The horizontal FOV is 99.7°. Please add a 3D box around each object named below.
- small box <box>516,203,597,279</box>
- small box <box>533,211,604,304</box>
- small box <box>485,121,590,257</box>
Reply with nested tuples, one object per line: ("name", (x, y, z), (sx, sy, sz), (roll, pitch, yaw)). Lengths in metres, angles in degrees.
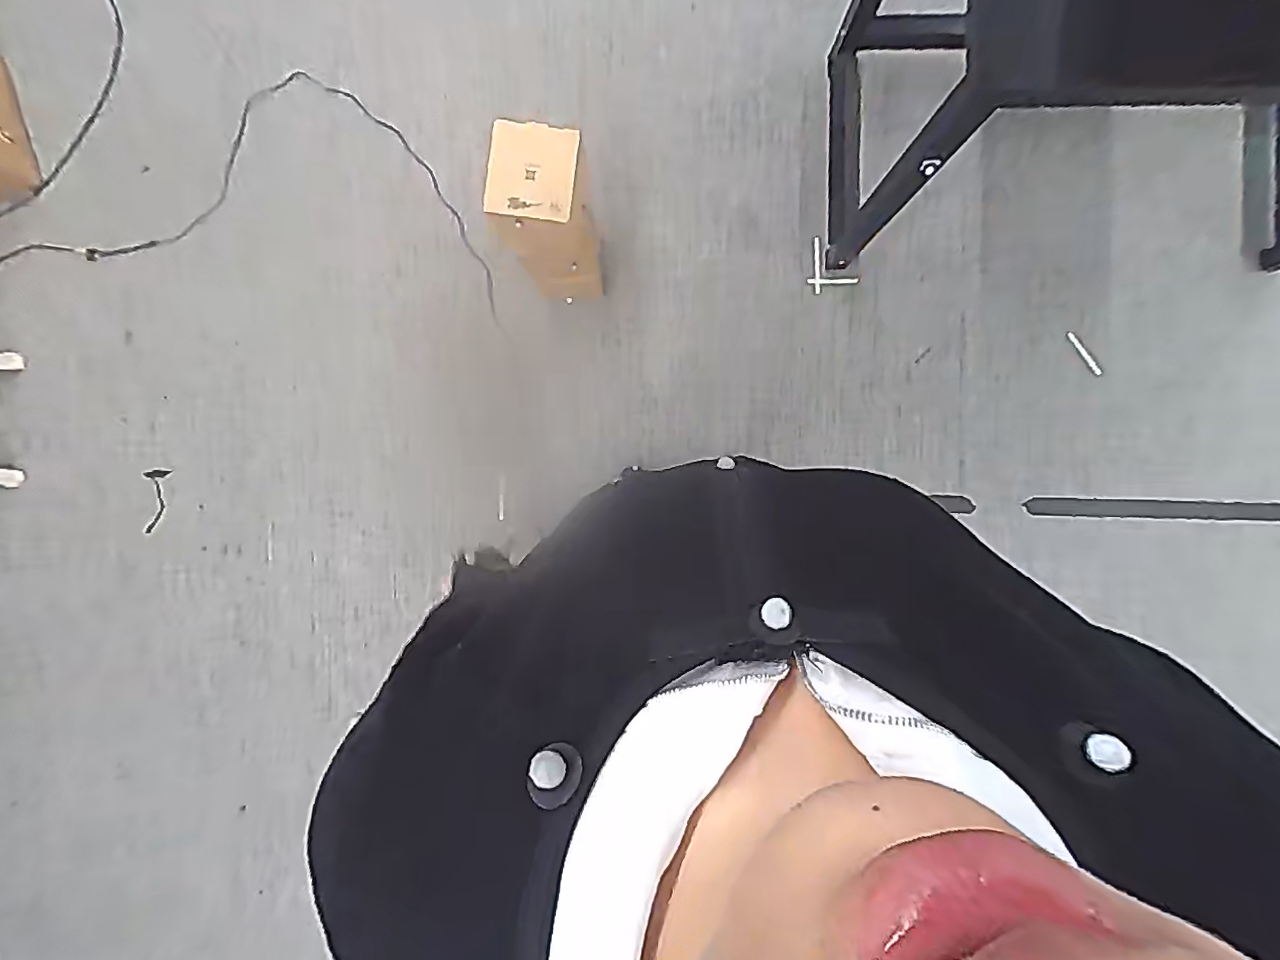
("small box", (-0.196, -0.583, 1.260), (0.168, 0.176, 0.179), (-7, 89, 1))
("small box", (-0.188, -0.580, 1.422), (0.168, 0.176, 0.179), (-3, 92, 2))
("small box", (-0.199, -0.580, 1.096), (0.168, 0.176, 0.179), (8, 90, 1))
